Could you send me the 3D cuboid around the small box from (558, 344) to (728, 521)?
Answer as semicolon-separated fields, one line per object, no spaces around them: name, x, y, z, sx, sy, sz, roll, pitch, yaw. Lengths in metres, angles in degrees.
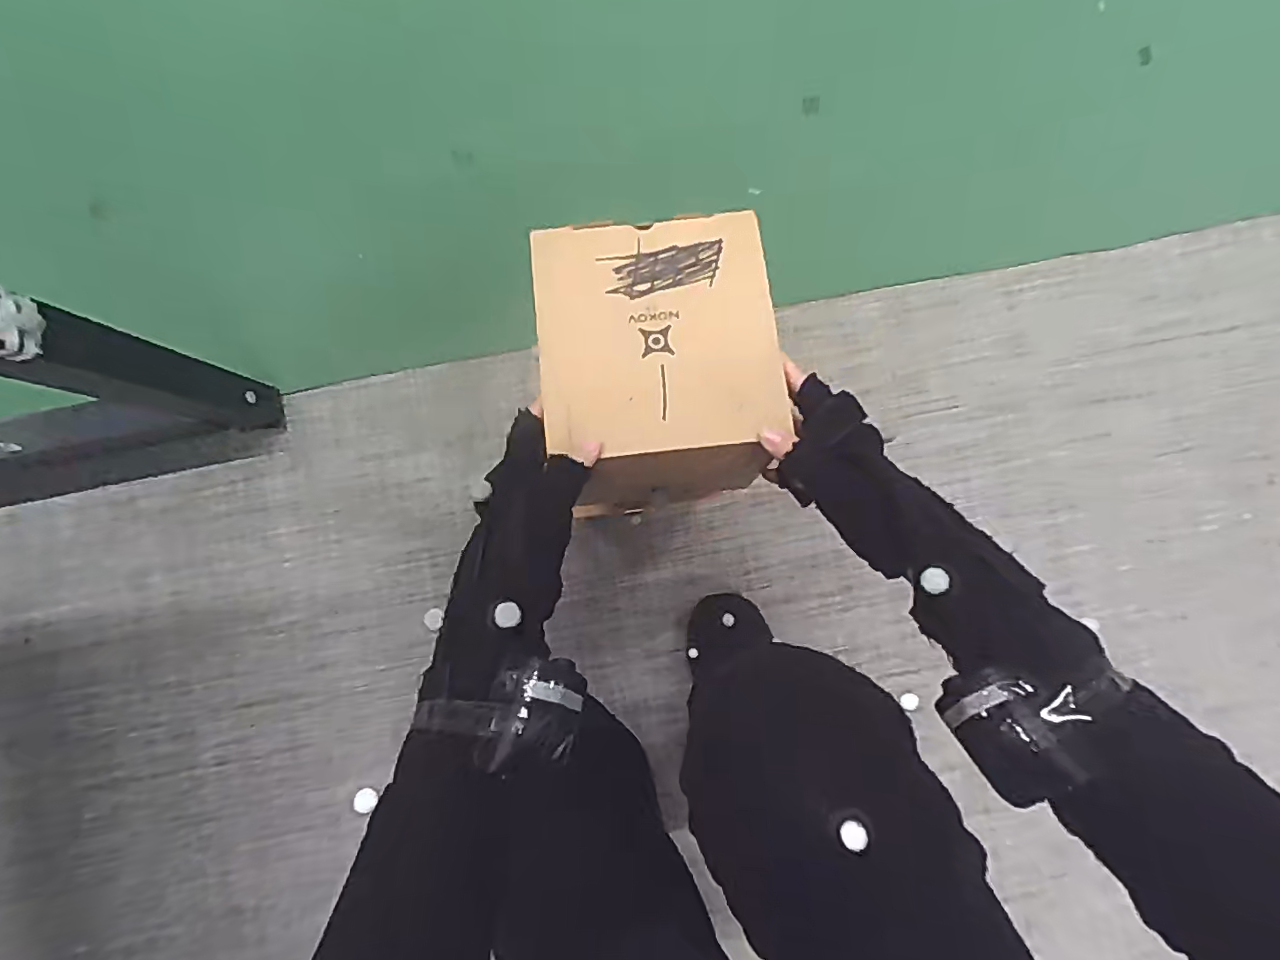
small box;0.001;-0.046;0.655;0.168;0.176;0.179;-8;87;-1
